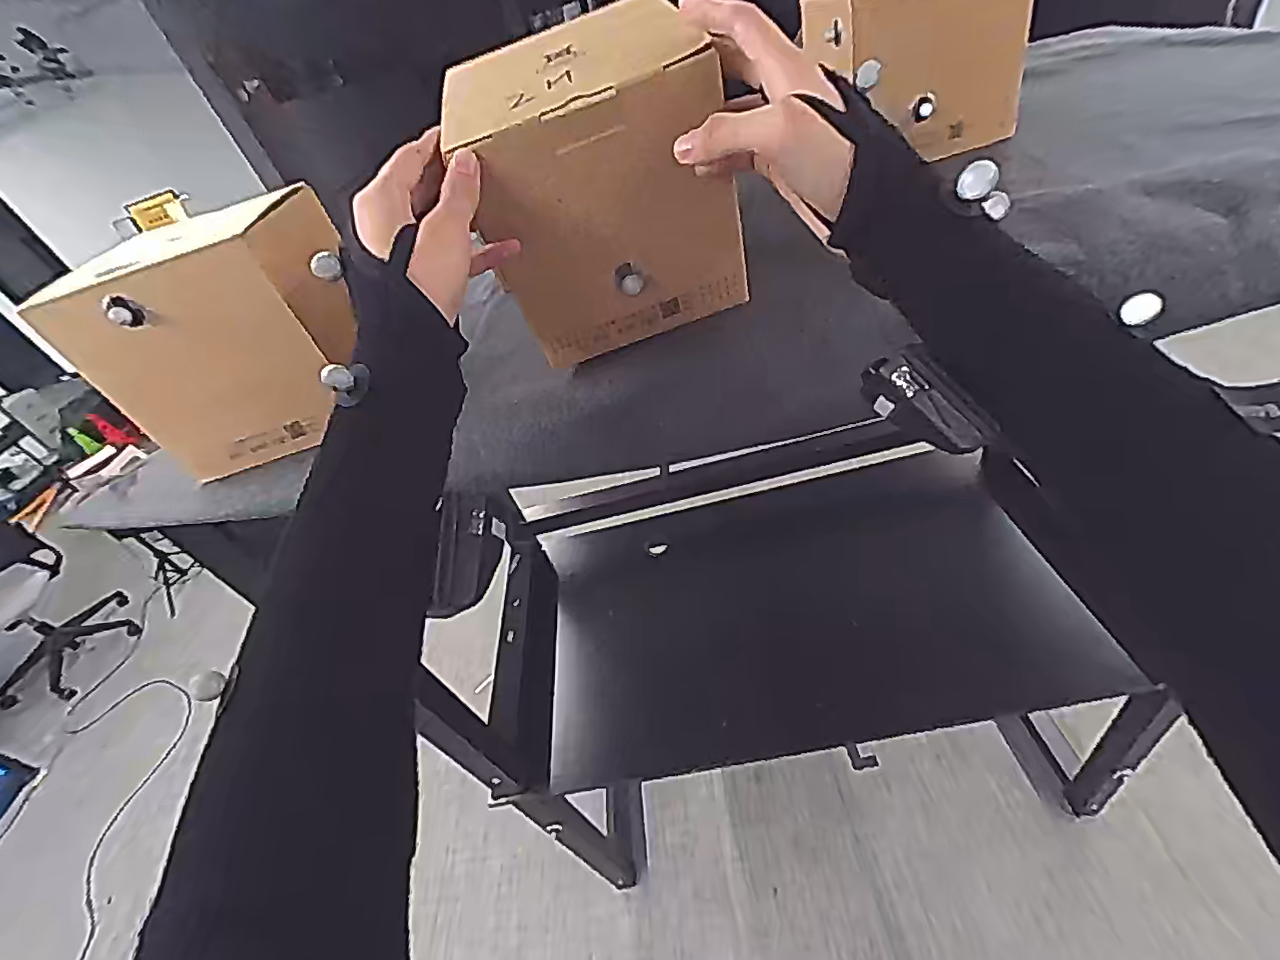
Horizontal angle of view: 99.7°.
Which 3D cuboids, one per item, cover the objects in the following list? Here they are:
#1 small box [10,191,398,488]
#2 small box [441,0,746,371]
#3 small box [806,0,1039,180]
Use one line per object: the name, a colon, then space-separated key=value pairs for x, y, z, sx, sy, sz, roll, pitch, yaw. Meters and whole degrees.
small box: x=-0.338 y=-0.123 z=0.473 sx=0.168 sy=0.176 sz=0.179 roll=-19 pitch=40 yaw=2
small box: x=-0.029 y=-0.216 z=0.410 sx=0.168 sy=0.176 sz=0.179 roll=-19 pitch=51 yaw=4
small box: x=0.286 y=-0.448 z=0.584 sx=0.168 sy=0.176 sz=0.179 roll=-14 pitch=41 yaw=7
